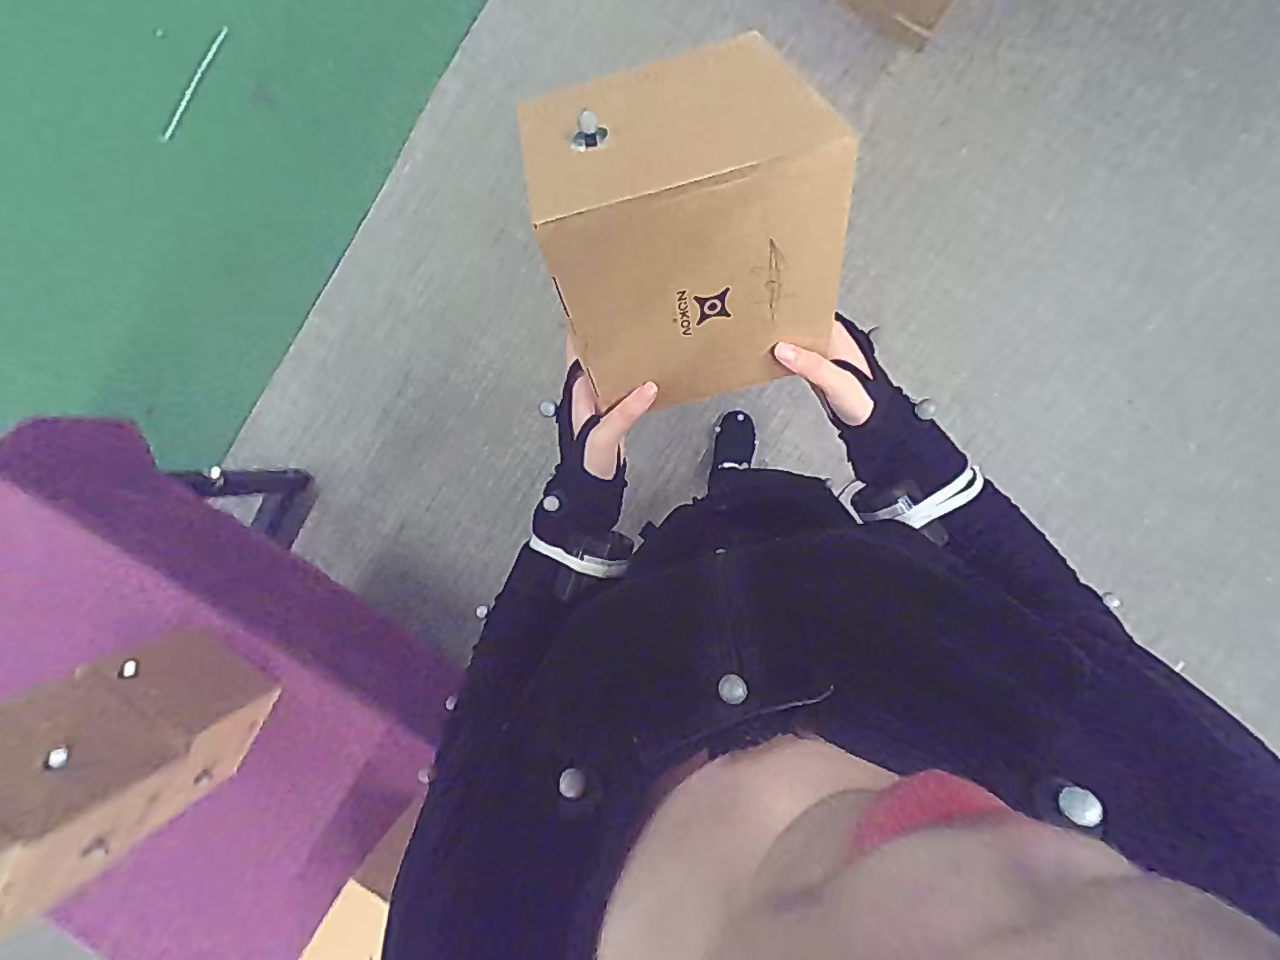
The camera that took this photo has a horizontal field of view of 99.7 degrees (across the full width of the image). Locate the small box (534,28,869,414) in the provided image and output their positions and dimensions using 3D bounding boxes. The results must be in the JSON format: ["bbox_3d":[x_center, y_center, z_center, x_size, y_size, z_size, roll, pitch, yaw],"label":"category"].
[{"bbox_3d":[0.032,-0.178,0.385,0.179,0.168,0.176,-14,55,3],"label":"small box"}]

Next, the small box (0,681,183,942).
[{"bbox_3d":[-0.677,0.358,0.601,0.179,0.176,0.168,35,95,3],"label":"small box"}]

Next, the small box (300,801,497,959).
[{"bbox_3d":[-0.319,0.593,0.740,0.168,0.176,0.179,33,95,4],"label":"small box"}]

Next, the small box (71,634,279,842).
[{"bbox_3d":[-0.667,0.346,0.765,0.179,0.176,0.168,31,95,4],"label":"small box"}]
